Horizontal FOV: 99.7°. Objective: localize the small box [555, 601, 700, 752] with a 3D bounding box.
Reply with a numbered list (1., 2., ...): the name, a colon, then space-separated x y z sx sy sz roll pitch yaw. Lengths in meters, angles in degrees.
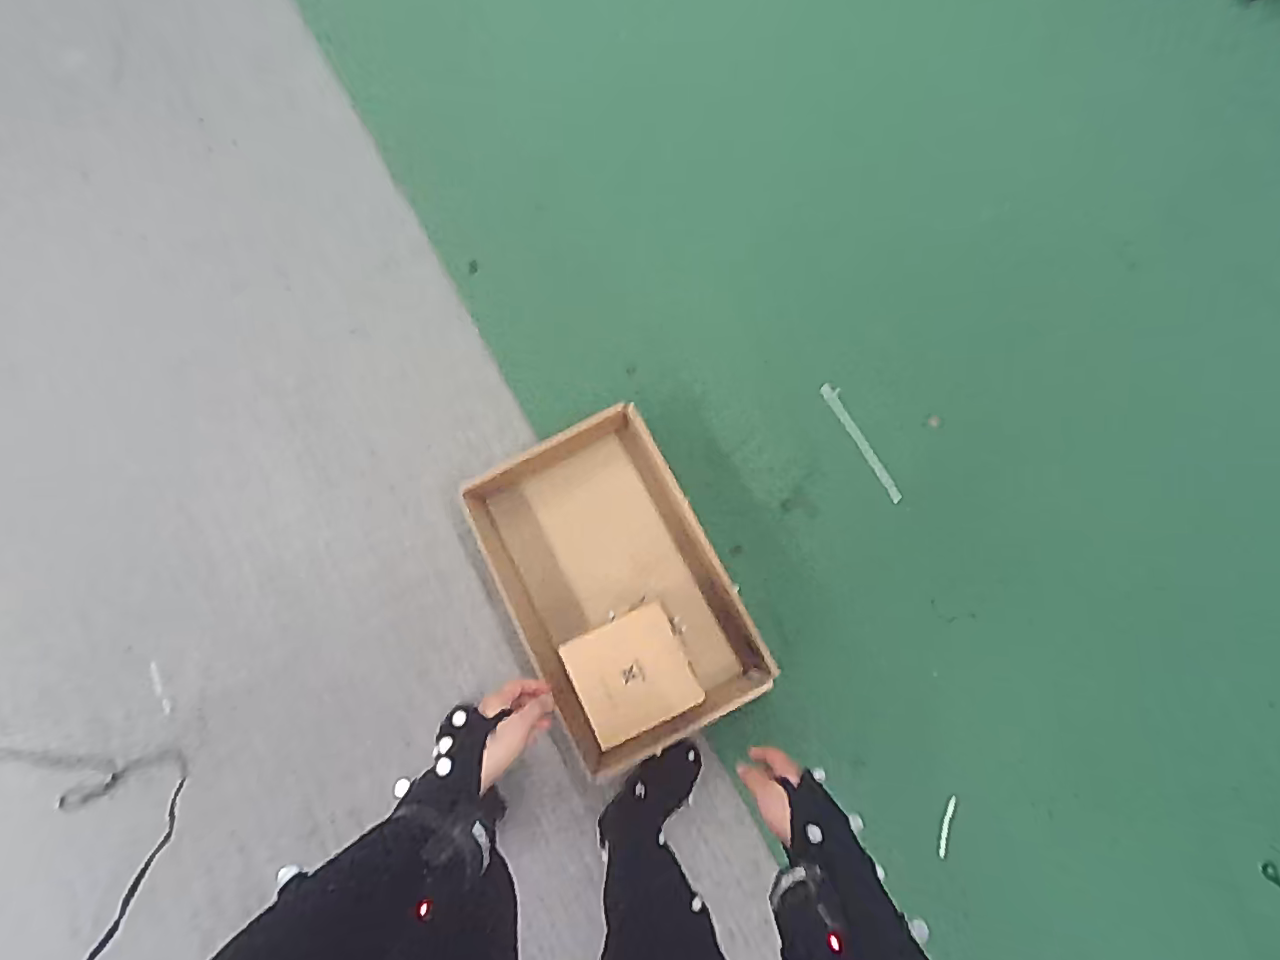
1. small box: -0.017 0.310 0.895 0.179 0.176 0.168 -26 79 -1
